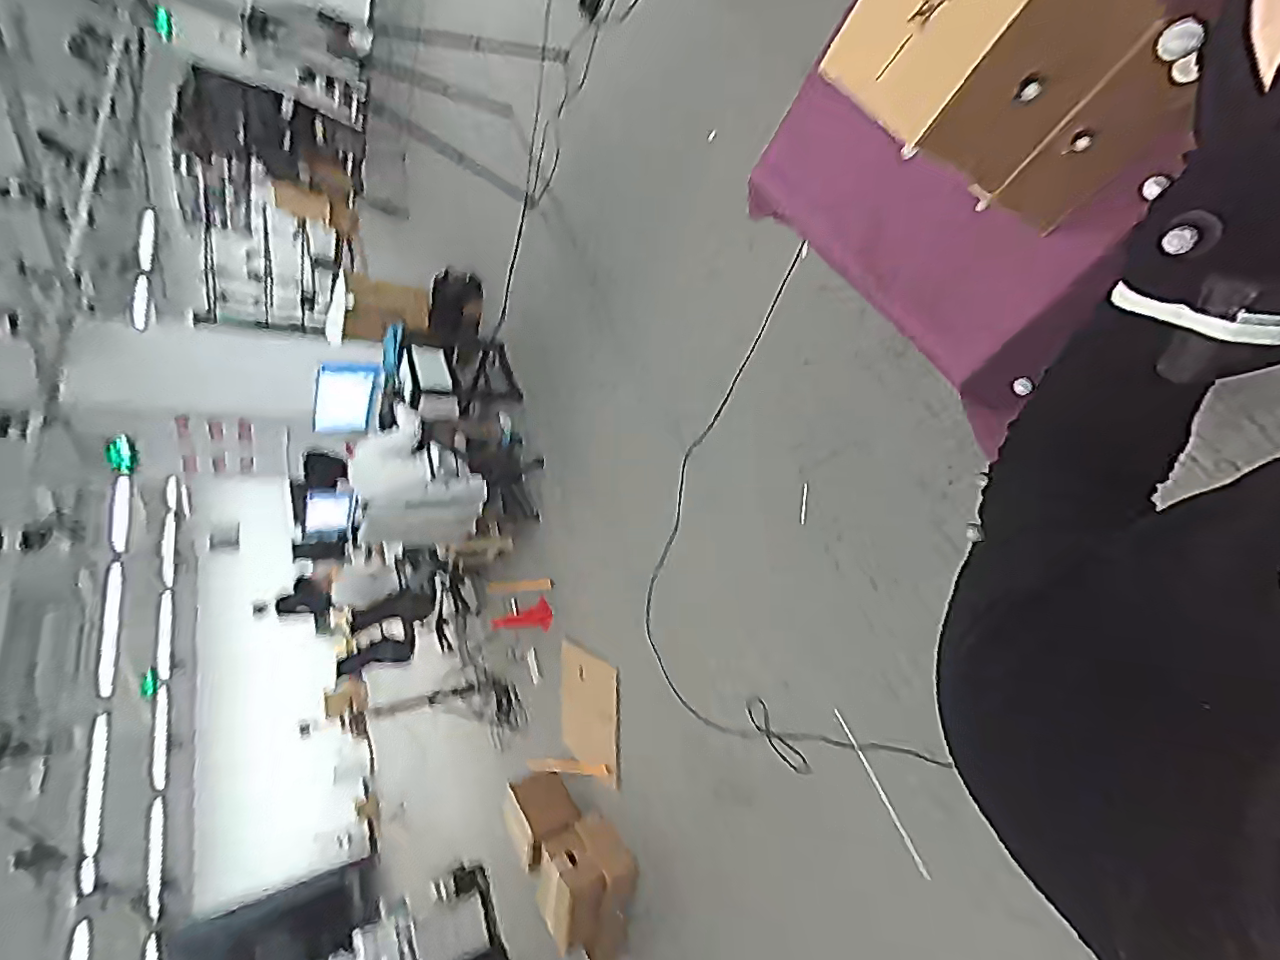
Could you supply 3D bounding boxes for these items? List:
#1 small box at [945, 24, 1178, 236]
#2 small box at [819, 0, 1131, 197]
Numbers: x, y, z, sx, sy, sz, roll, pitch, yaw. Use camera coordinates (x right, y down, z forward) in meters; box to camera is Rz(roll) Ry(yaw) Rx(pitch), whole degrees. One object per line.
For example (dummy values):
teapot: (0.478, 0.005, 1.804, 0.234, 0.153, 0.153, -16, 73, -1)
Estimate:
small box: (0.453, -0.416, 0.625, 0.179, 0.176, 0.168, -52, 52, 41)
small box: (0.322, -0.416, 0.526, 0.179, 0.176, 0.168, -54, 51, 42)
